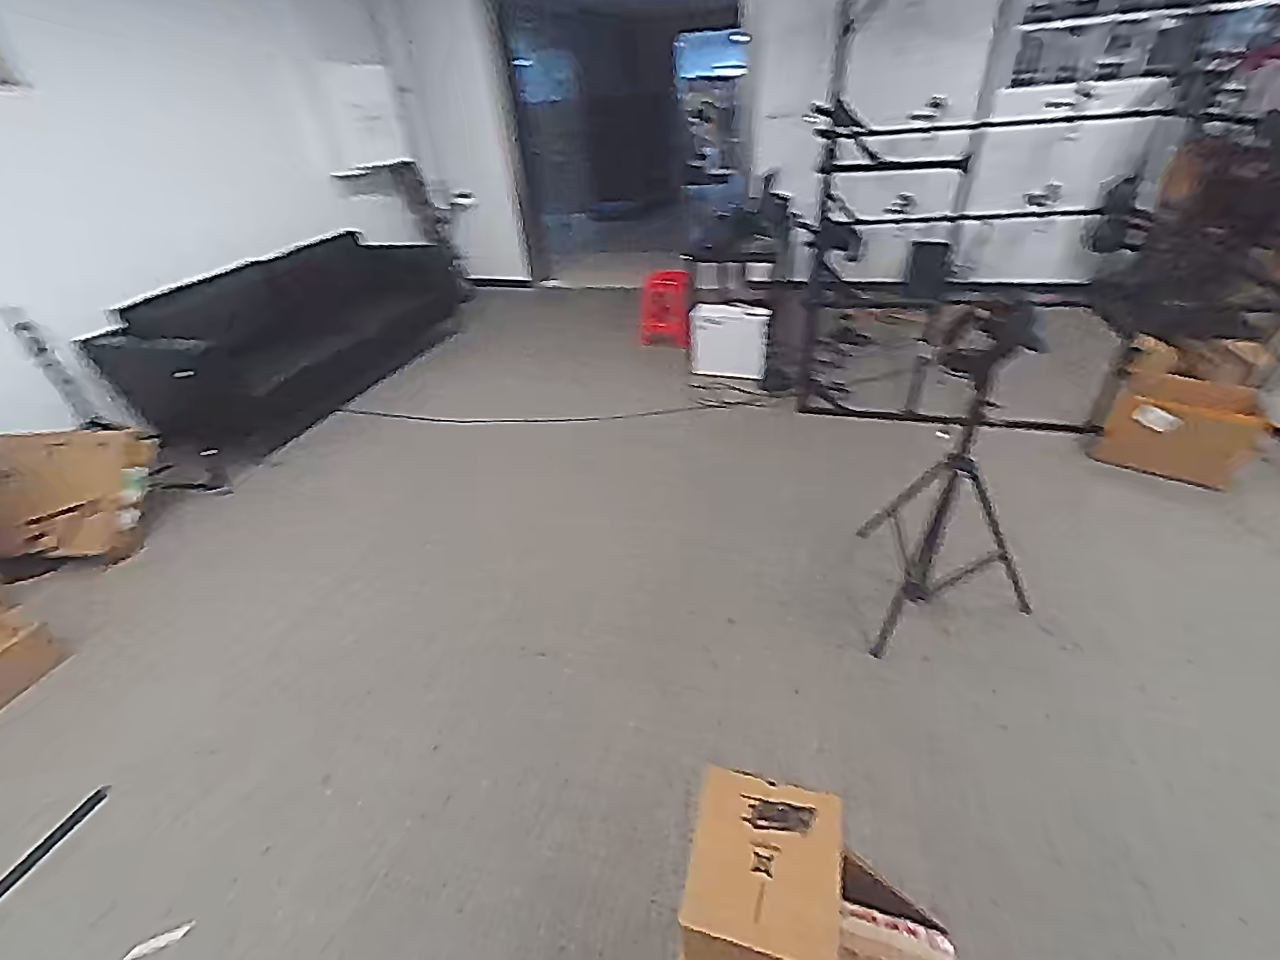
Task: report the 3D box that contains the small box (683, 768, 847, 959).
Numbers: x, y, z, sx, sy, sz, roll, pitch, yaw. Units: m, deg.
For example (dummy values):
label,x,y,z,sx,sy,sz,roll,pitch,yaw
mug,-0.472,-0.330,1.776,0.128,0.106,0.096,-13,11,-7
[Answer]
label,x,y,z,sx,sy,sz,roll,pitch,yaw
small box,0.155,0.496,0.661,0.168,0.176,0.179,5,39,18
